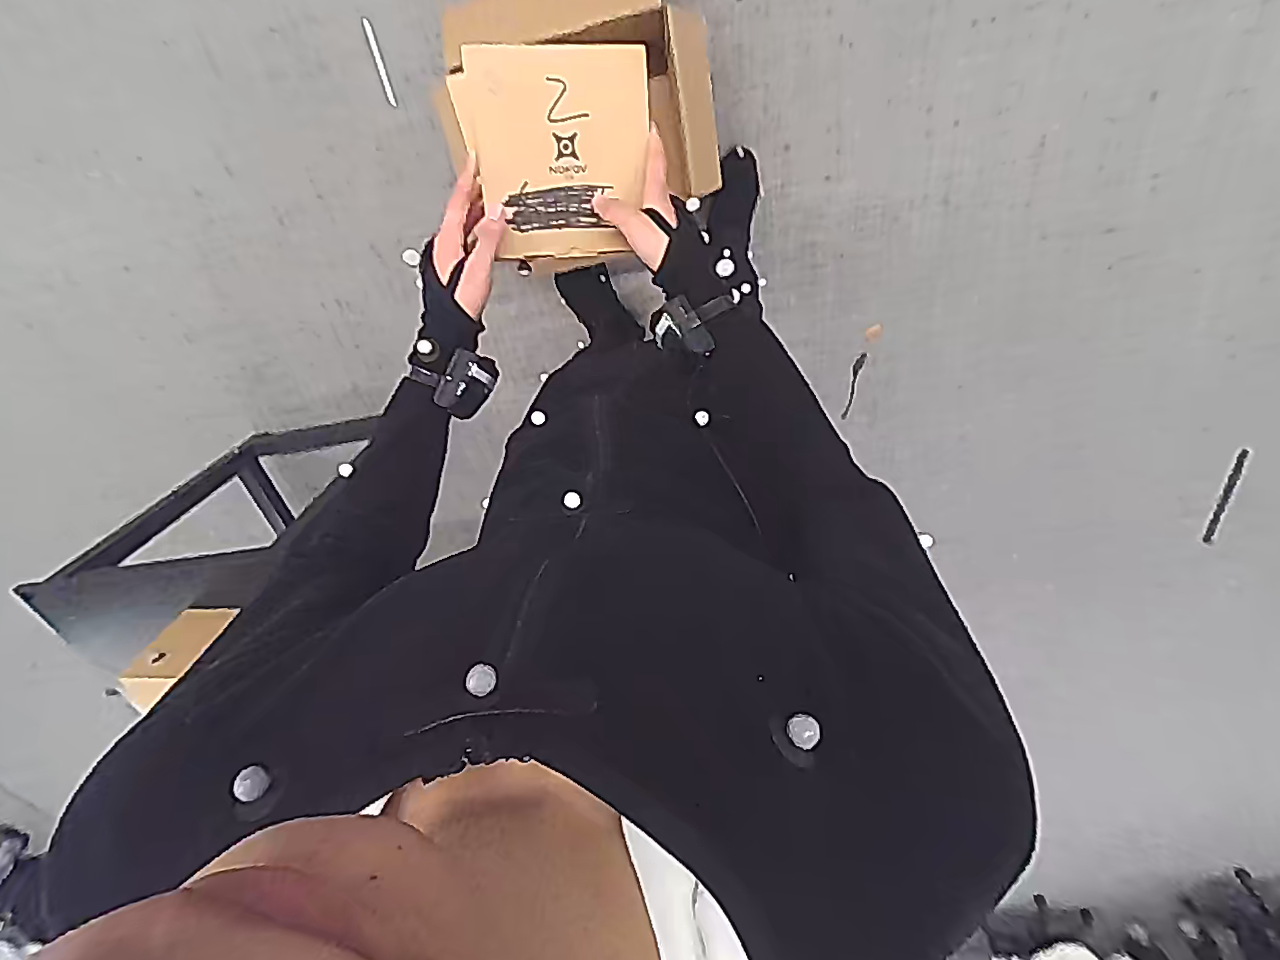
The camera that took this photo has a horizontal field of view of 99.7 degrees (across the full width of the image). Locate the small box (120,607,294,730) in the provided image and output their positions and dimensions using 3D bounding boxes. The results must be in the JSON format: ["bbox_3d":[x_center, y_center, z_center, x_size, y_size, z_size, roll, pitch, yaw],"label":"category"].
[{"bbox_3d":[-0.836,0.366,1.067,0.179,0.176,0.168,-1,123,3],"label":"small box"}]
